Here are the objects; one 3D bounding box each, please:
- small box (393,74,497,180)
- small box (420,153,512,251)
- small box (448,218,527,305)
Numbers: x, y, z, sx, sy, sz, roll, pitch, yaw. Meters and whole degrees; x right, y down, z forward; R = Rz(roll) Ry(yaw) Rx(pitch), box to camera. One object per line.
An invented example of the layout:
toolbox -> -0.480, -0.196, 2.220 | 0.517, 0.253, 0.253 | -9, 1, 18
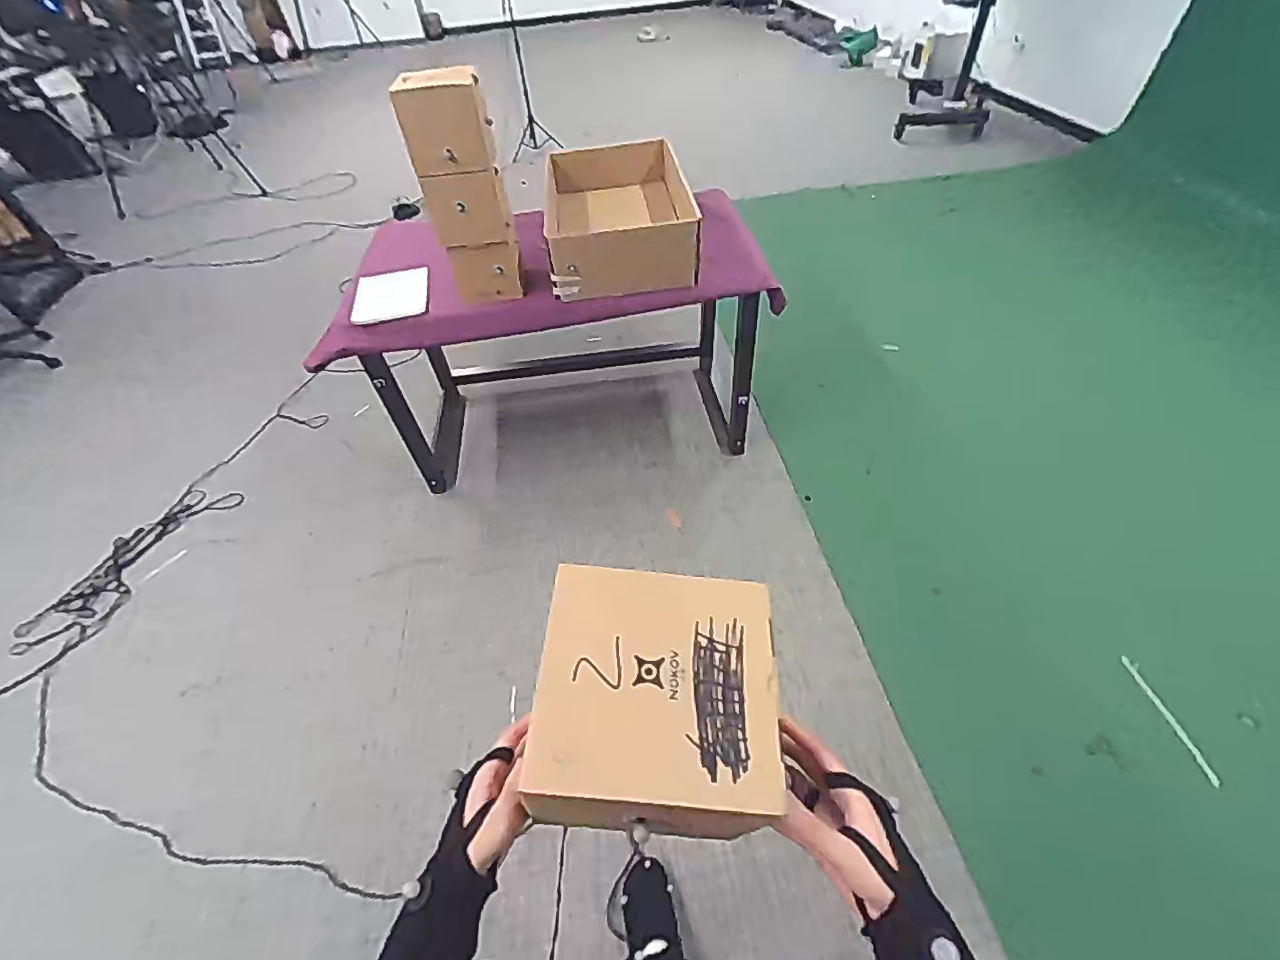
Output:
small box -> -0.436, -0.810, 1.243 | 0.179, 0.176, 0.168 | -6, 47, -3
small box -> -0.427, -0.700, 1.365 | 0.179, 0.176, 0.168 | -7, 47, -2
small box -> -0.412, -0.598, 1.493 | 0.168, 0.176, 0.179 | -6, 47, -2
